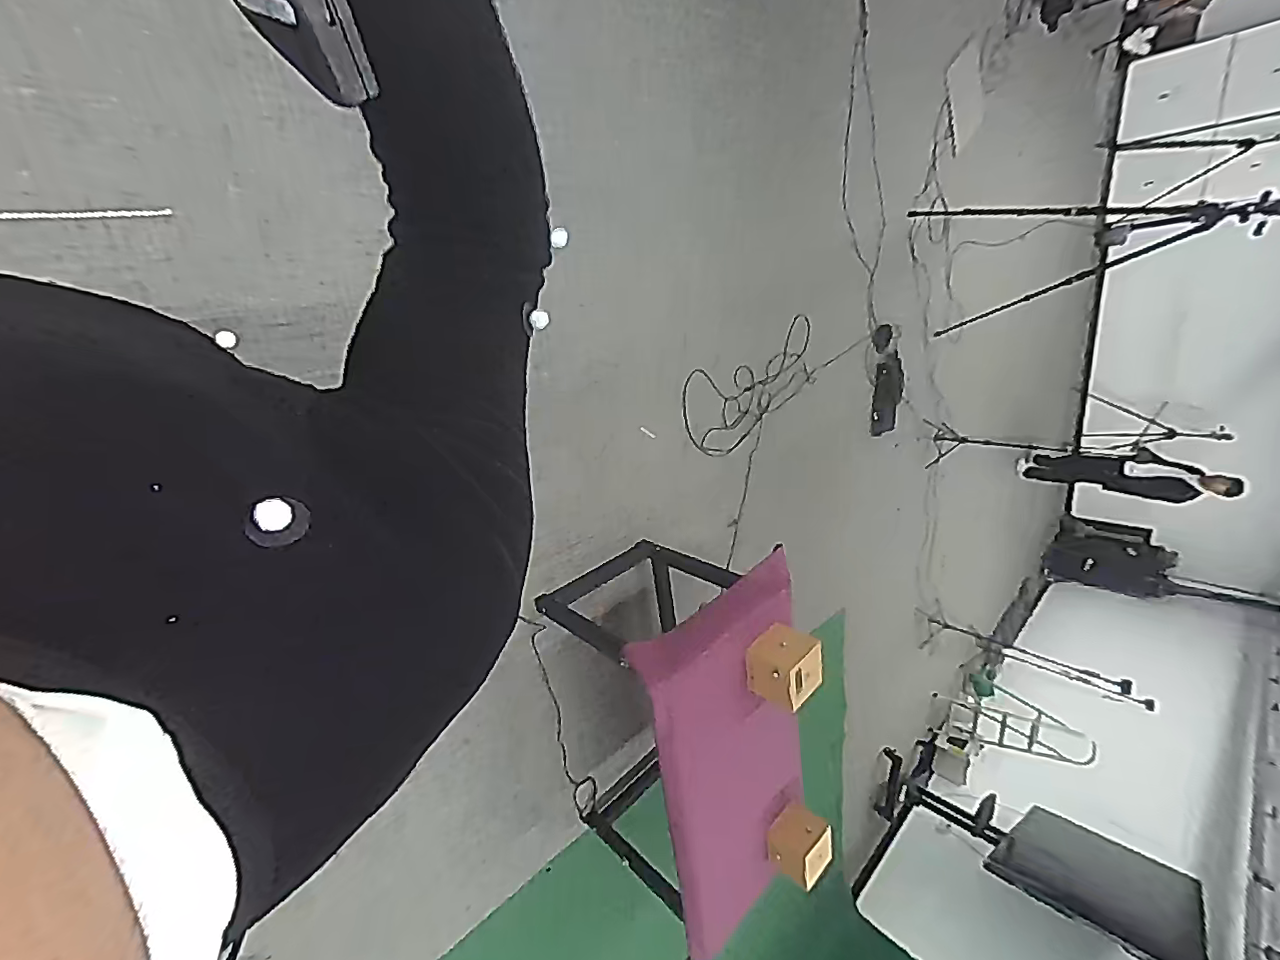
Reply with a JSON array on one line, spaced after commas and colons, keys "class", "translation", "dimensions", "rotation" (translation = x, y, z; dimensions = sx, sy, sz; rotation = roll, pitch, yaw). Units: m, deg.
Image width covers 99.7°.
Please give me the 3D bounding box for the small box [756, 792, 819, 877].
[{"class": "small box", "translation": [0.564, 1.343, 2.065], "dimensions": [0.179, 0.176, 0.168], "rotation": [-22, 112, -38]}]
